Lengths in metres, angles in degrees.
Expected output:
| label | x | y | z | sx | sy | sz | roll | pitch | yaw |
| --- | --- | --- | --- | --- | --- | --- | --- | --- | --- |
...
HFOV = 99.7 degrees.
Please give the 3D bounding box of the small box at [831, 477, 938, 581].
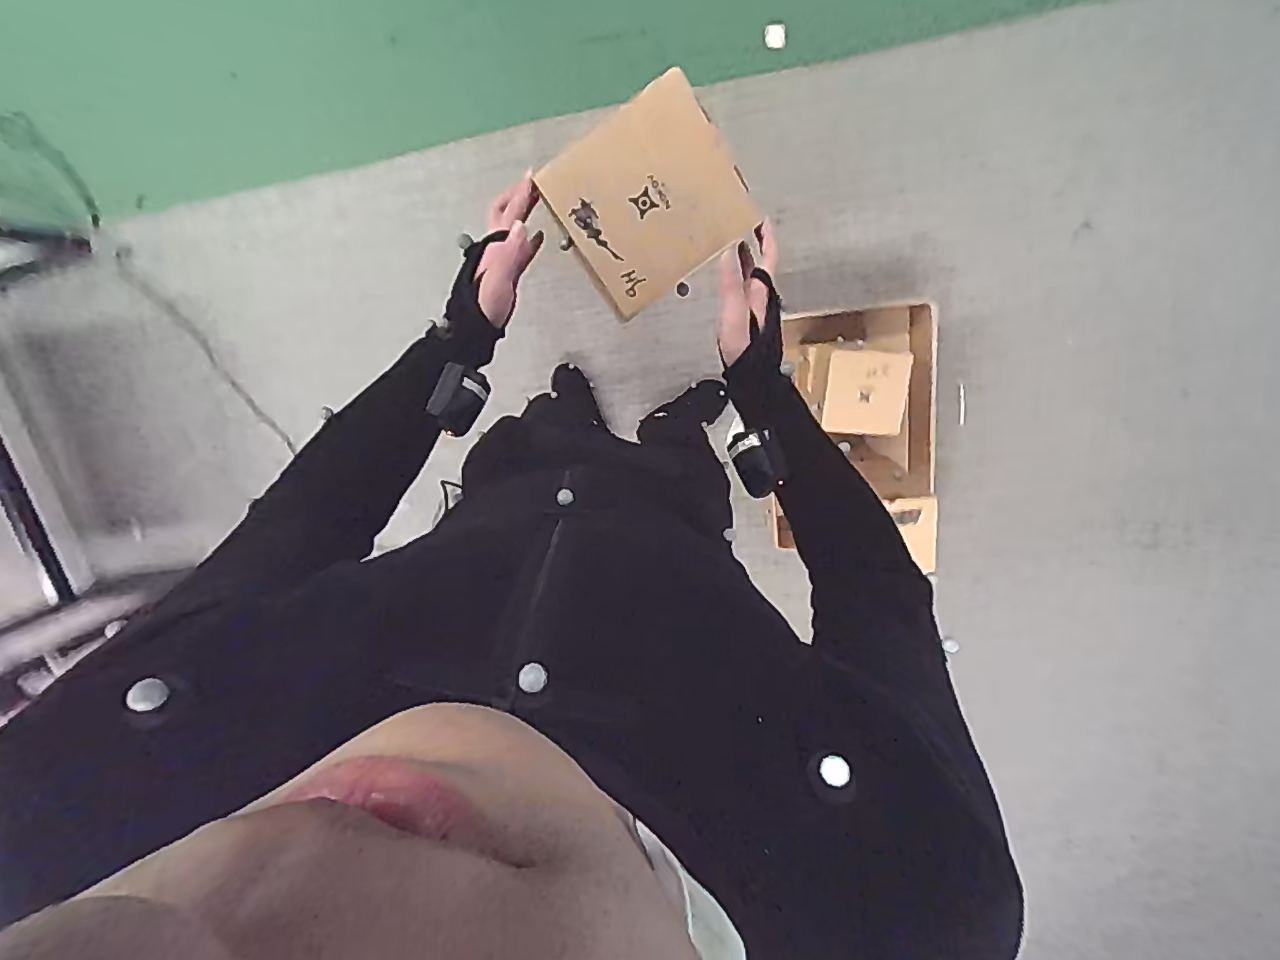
| label | x | y | z | sx | sy | sz | roll | pitch | yaw |
| --- | --- | --- | --- | --- | --- | --- | --- | --- | --- |
| small box | 0.499 | 0.095 | 1.130 | 0.168 | 0.176 | 0.179 | -3 | 106 | 9 |
